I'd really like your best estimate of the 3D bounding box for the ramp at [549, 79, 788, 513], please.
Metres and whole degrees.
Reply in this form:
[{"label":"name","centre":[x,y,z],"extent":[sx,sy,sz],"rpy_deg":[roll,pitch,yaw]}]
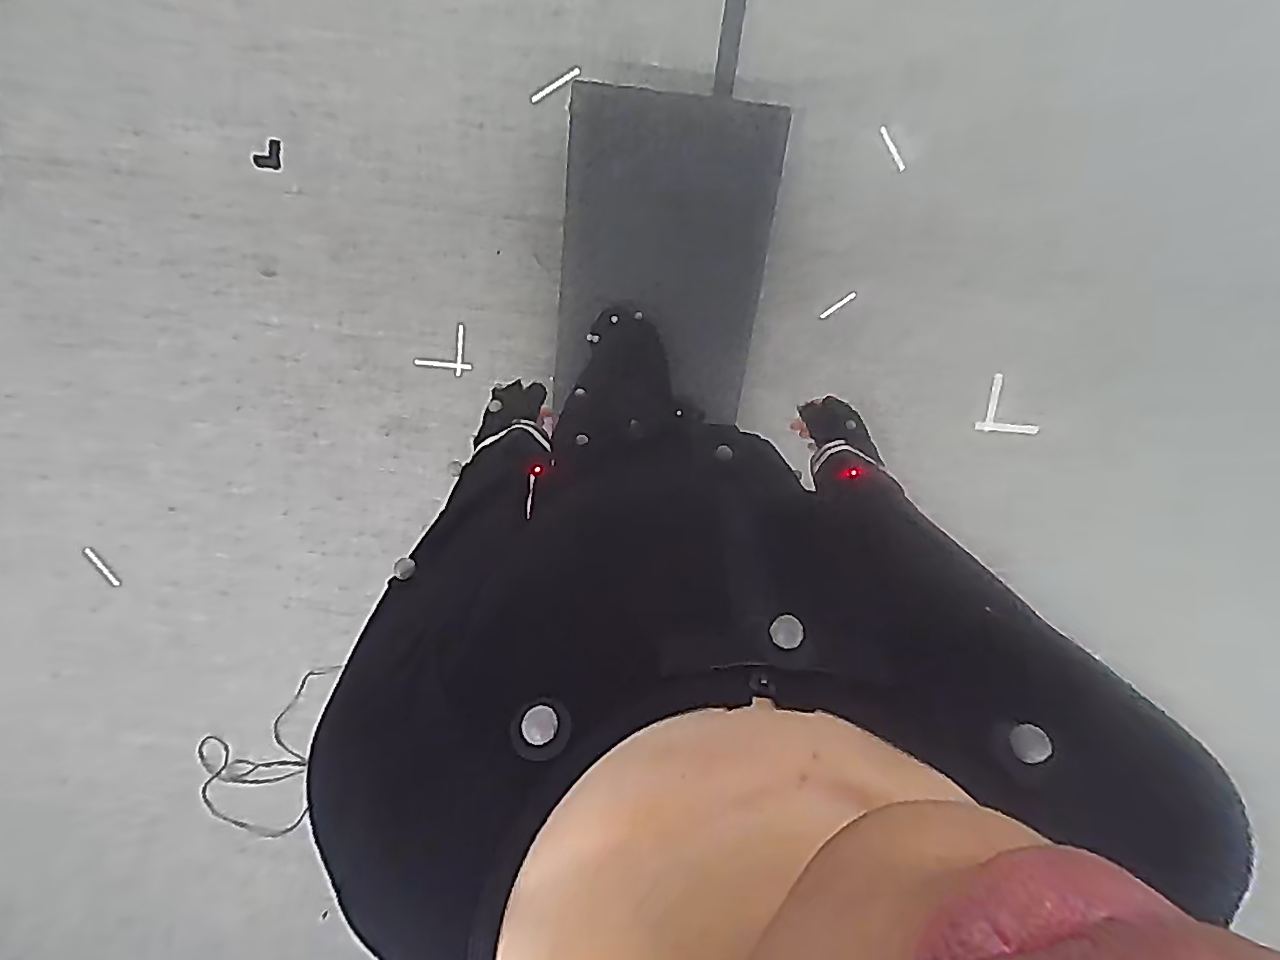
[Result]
[{"label":"ramp","centre":[0.037,-0.391,1.362],"extent":[0.509,0.206,0.991],"rpy_deg":[5,101,-2]}]
